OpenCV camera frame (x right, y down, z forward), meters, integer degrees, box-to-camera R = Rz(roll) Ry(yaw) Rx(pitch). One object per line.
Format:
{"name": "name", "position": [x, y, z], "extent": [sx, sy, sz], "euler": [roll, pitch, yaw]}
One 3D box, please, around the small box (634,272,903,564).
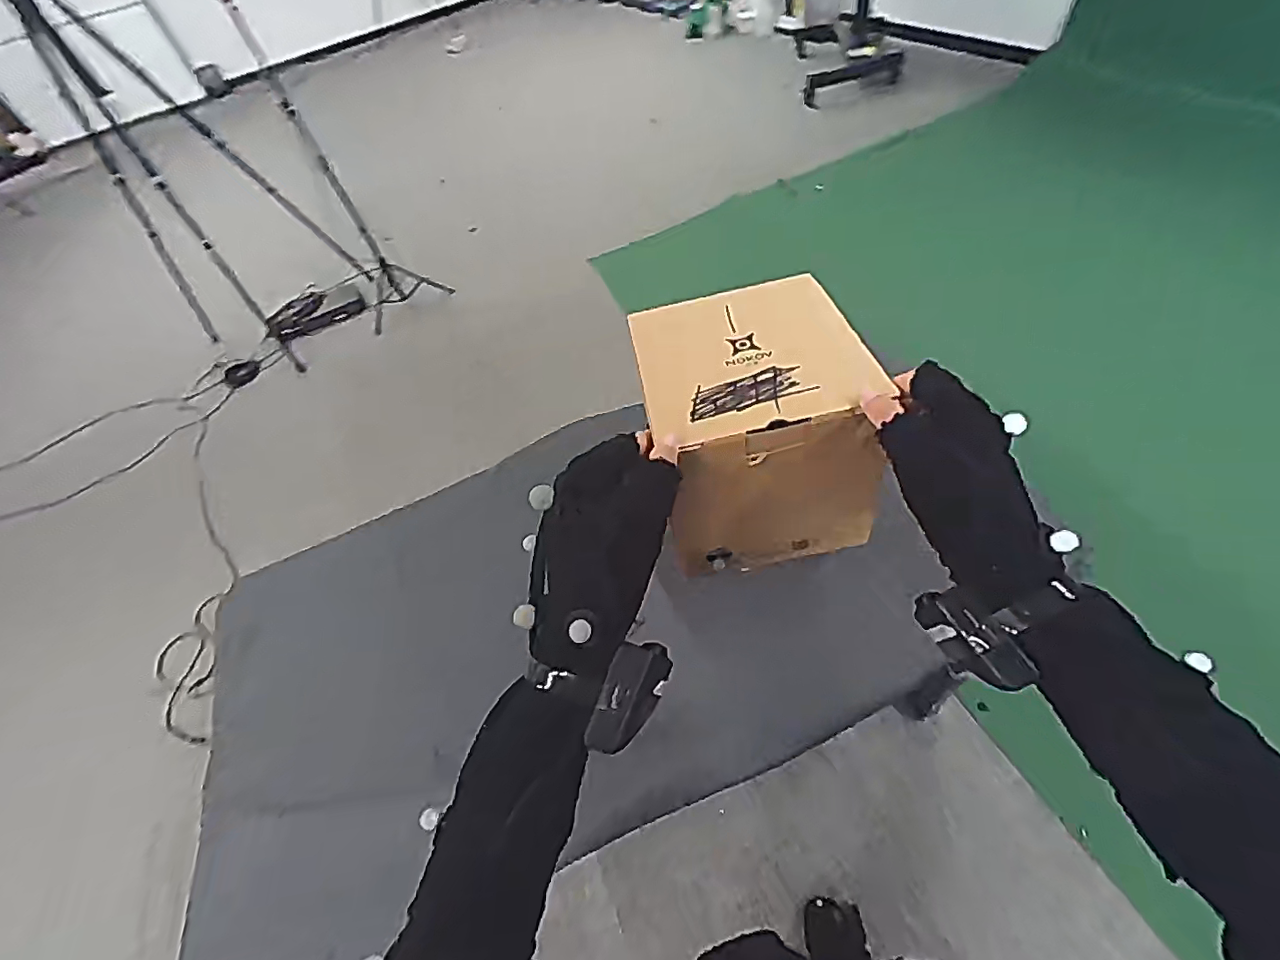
{"name": "small box", "position": [0.098, -0.044, 0.465], "extent": [0.168, 0.176, 0.179], "euler": [-12, 48, 3]}
